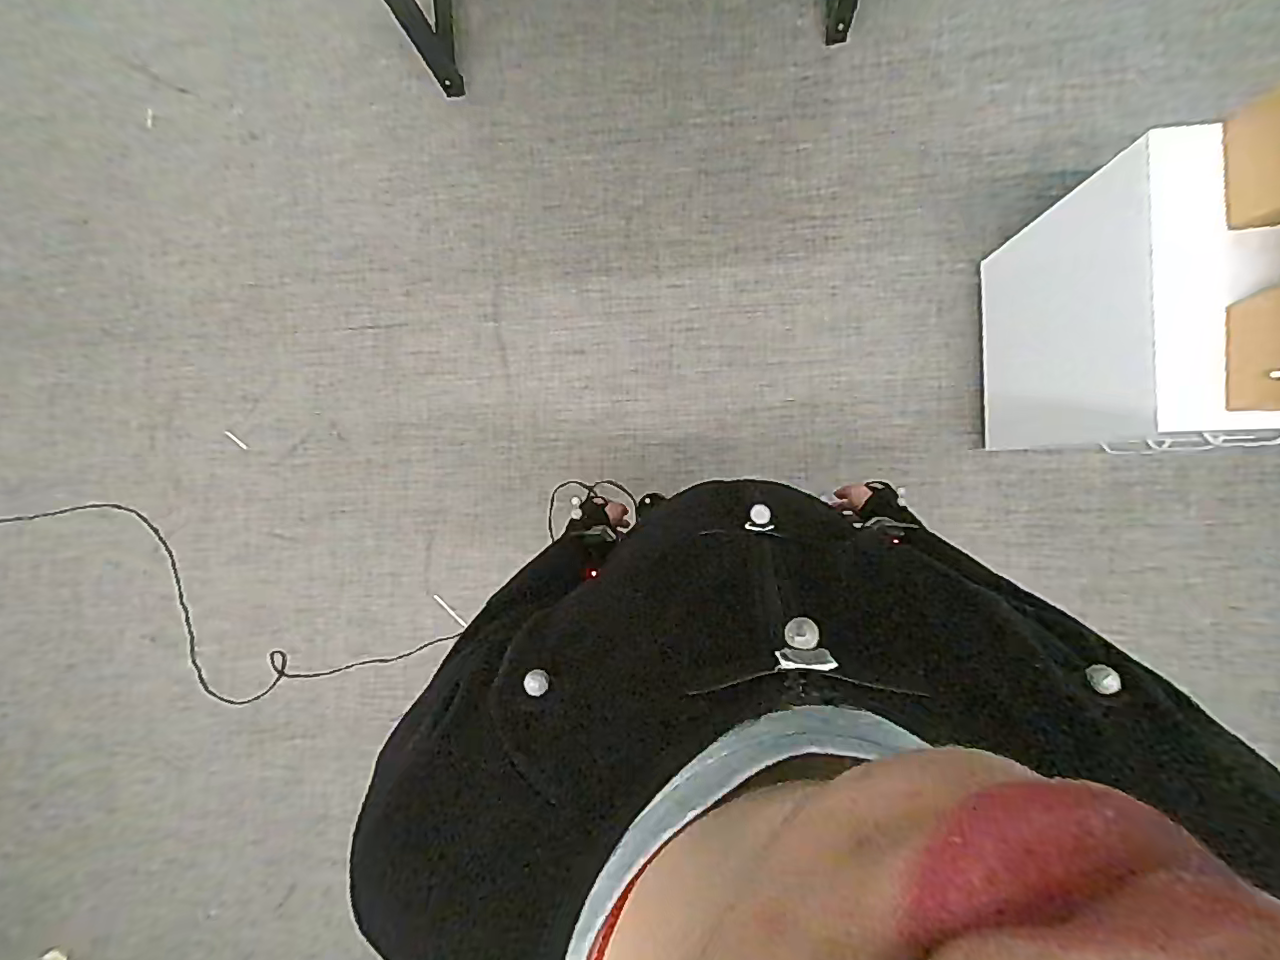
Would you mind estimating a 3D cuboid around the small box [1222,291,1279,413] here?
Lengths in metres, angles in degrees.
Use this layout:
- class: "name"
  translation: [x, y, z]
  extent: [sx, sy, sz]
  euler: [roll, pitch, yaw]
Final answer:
- class: "small box"
  translation: [1.022, -0.192, 0.795]
  extent: [0.168, 0.176, 0.179]
  euler: [0, 88, 5]

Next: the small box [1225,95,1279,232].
- class: "small box"
  translation: [1.023, -0.491, 0.791]
  extent: [0.168, 0.176, 0.179]
  euler: [-3, 92, 7]
